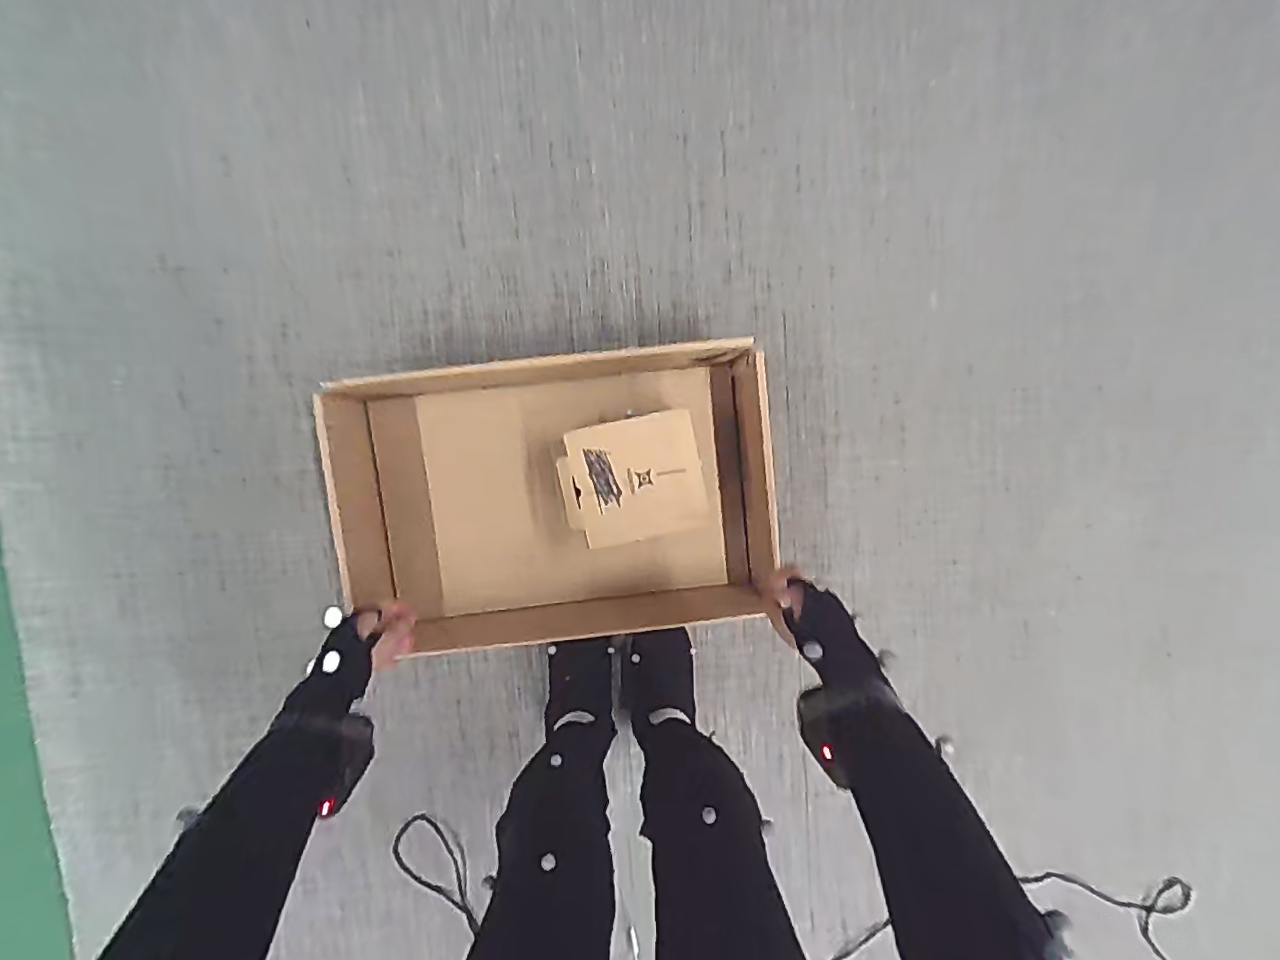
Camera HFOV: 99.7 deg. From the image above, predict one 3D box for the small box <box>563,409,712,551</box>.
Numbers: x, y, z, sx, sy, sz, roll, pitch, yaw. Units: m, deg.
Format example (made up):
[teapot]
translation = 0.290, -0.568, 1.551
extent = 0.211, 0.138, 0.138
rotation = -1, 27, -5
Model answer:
[small box]
translation = -0.004, -0.005, 0.808
extent = 0.179, 0.176, 0.168
rotation = -13, 96, -1
